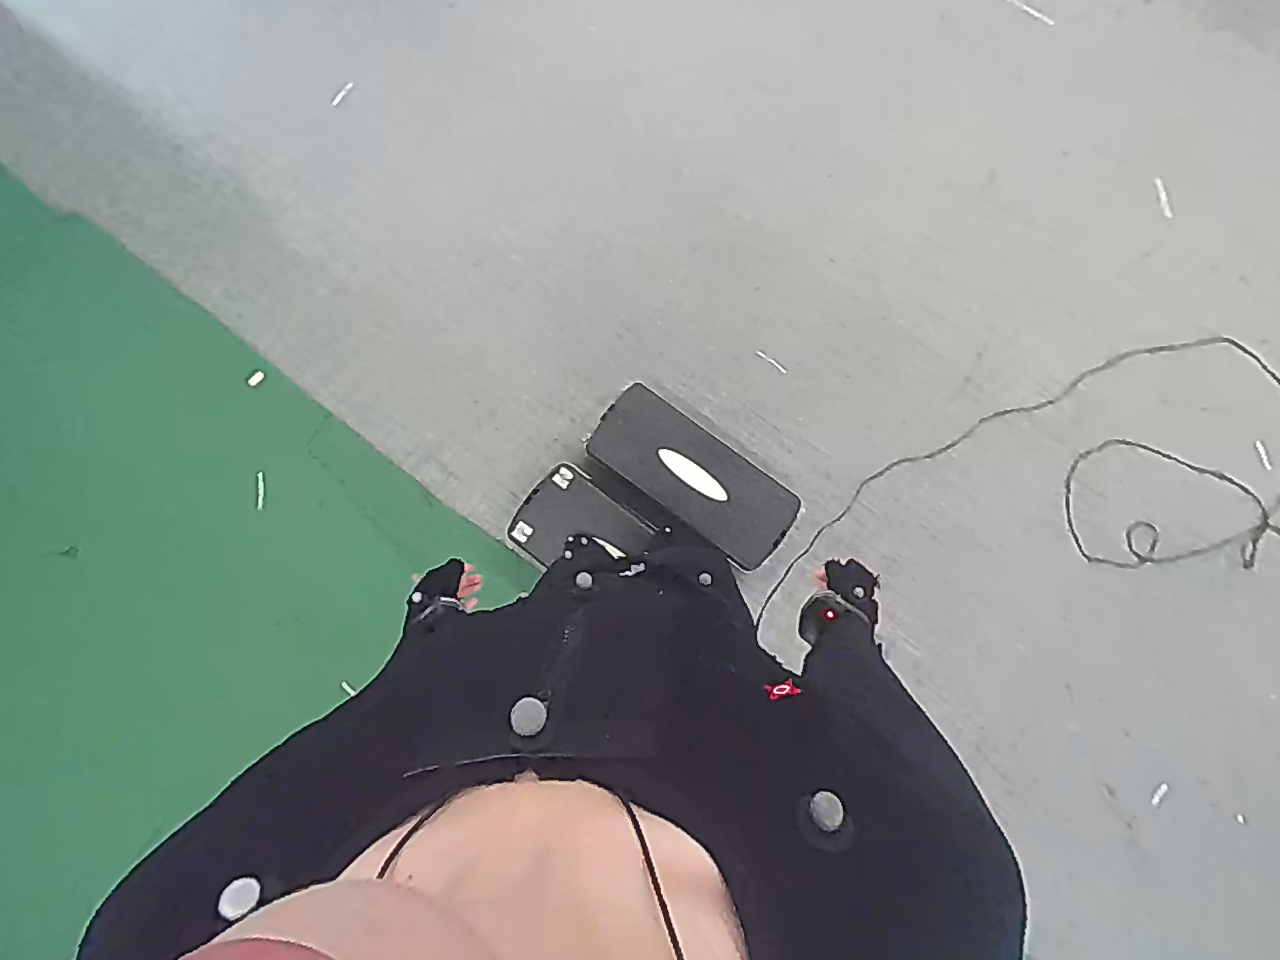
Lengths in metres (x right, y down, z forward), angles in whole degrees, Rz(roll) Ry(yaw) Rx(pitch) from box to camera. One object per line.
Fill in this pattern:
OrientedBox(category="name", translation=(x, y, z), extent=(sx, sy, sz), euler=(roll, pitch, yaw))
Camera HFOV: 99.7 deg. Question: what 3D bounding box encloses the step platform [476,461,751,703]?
OrientedBox(category="step platform", translation=(-0.067, 0.249, 1.394), extent=(0.684, 0.204, 0.286), euler=(36, 86, 3))
